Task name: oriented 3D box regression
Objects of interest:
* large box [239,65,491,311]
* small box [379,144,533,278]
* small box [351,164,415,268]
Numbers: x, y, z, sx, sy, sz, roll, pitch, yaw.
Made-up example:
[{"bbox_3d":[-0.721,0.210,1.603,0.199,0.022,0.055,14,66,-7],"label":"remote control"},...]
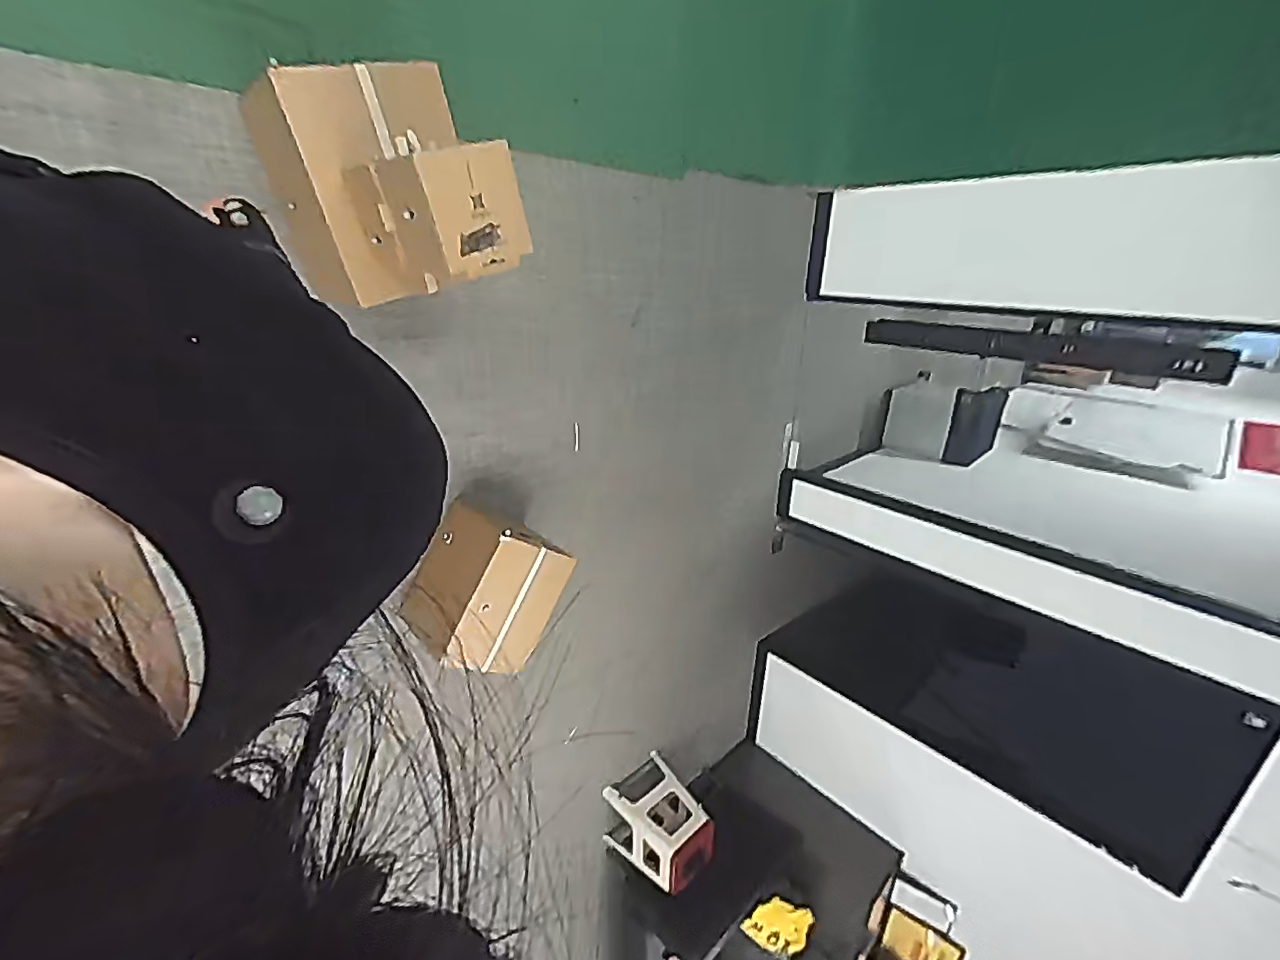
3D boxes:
[{"bbox_3d":[-0.588,-0.618,1.183,0.320,0.320,0.408,-32,126,-33],"label":"large box"},{"bbox_3d":[-0.312,-0.457,0.923,0.168,0.176,0.179,-32,127,-32],"label":"small box"},{"bbox_3d":[-0.425,-0.506,1.031,0.179,0.176,0.168,-30,126,-33],"label":"small box"}]
